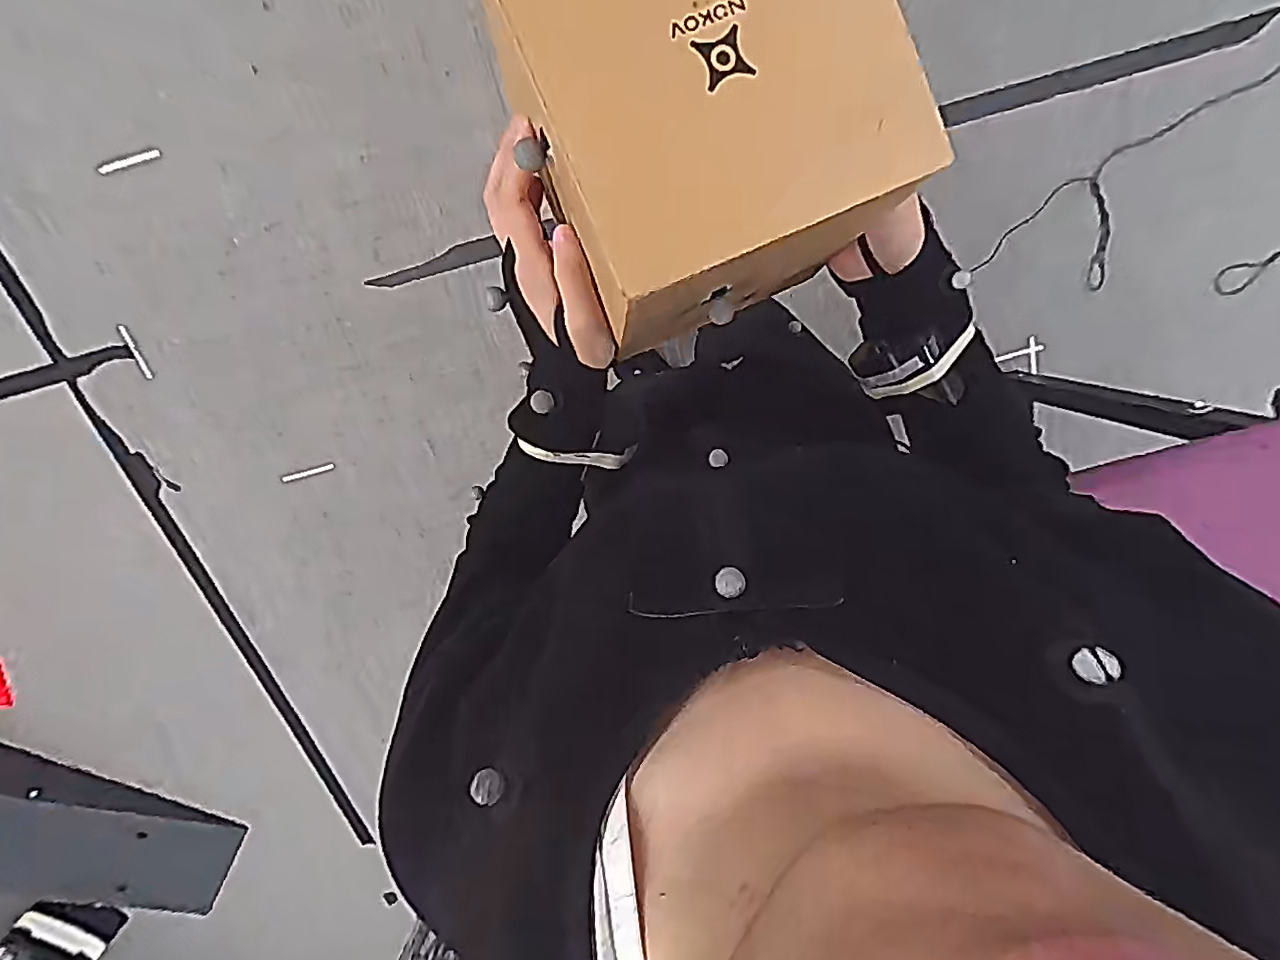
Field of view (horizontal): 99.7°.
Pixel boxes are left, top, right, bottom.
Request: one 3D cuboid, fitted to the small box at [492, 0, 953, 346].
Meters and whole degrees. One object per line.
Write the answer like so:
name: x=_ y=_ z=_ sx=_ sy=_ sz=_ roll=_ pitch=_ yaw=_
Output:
small box: x=0.032 y=-0.193 z=0.319 sx=0.168 sy=0.176 sz=0.179 roll=-24 pitch=93 yaw=-3
